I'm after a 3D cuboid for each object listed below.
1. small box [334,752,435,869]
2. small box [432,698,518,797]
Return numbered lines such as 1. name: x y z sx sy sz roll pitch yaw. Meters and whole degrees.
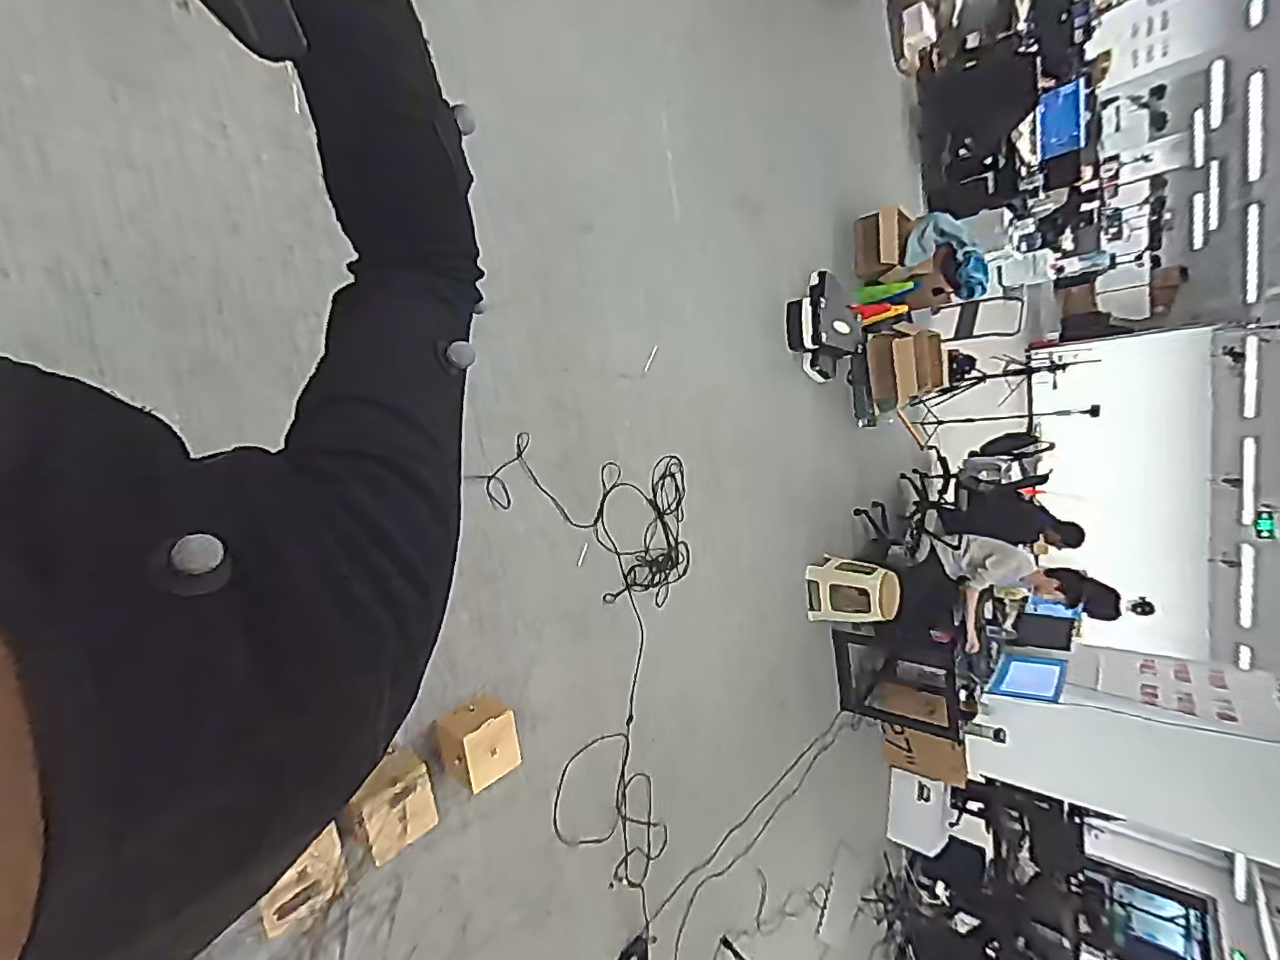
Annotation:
1. small box: -0.653 0.824 1.376 0.168 0.176 0.179 -18 103 -47
2. small box: -0.480 0.767 1.571 0.168 0.176 0.179 -17 101 -47
